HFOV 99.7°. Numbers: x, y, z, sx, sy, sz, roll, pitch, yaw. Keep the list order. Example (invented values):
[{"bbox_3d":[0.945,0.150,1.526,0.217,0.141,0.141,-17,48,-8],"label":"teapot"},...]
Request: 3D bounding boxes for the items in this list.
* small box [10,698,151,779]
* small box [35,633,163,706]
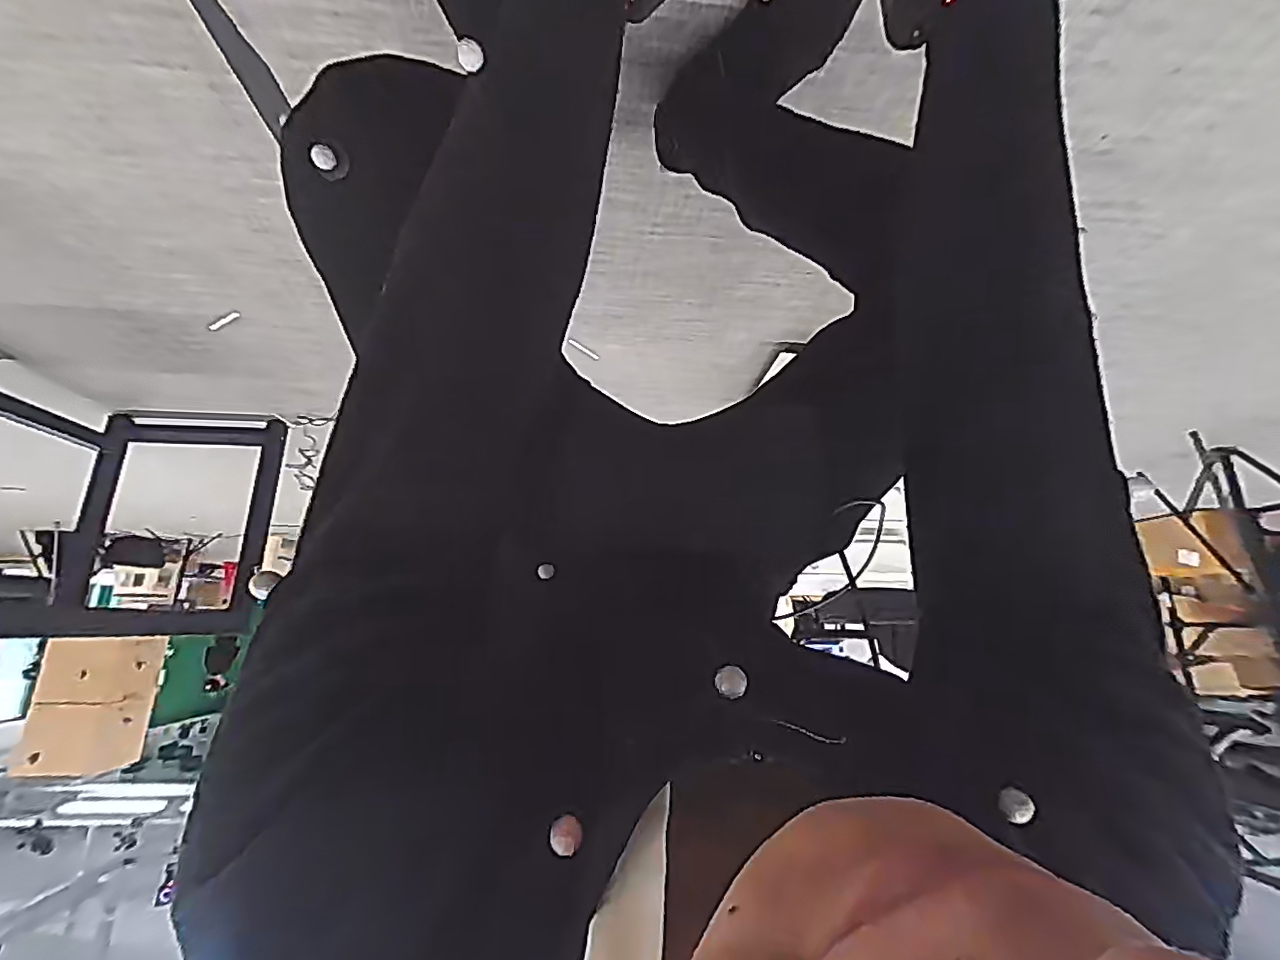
[{"bbox_3d":[-1.431,0.659,1.398,0.179,0.176,0.168,2,165,-4],"label":"small box"},{"bbox_3d":[-1.427,0.500,1.443,0.179,0.176,0.168,1,164,-4],"label":"small box"}]
